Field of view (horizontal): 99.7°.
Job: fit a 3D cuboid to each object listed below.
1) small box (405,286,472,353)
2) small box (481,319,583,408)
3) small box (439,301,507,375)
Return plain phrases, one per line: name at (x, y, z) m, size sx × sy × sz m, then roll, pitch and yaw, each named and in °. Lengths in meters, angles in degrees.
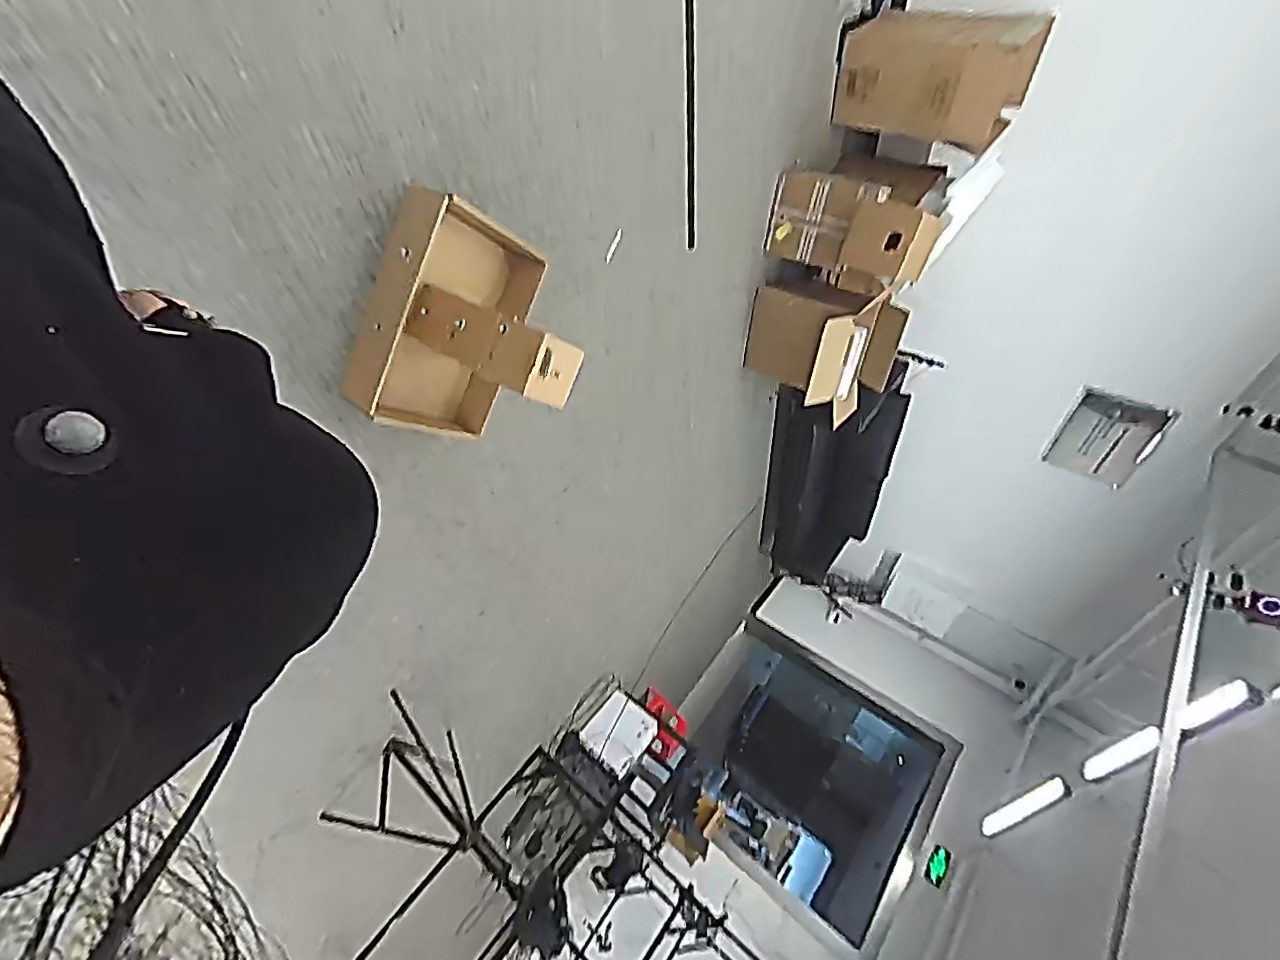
small box at (-0.546, -0.447, 1.584) m, size 0.179 × 0.176 × 0.168 m, roll 15°, pitch 101°, yaw -61°
small box at (-0.289, -0.311, 1.436) m, size 0.179 × 0.176 × 0.168 m, roll 10°, pitch 106°, yaw -62°
small box at (-0.420, -0.379, 1.509) m, size 0.179 × 0.176 × 0.168 m, roll 13°, pitch 103°, yaw -60°
